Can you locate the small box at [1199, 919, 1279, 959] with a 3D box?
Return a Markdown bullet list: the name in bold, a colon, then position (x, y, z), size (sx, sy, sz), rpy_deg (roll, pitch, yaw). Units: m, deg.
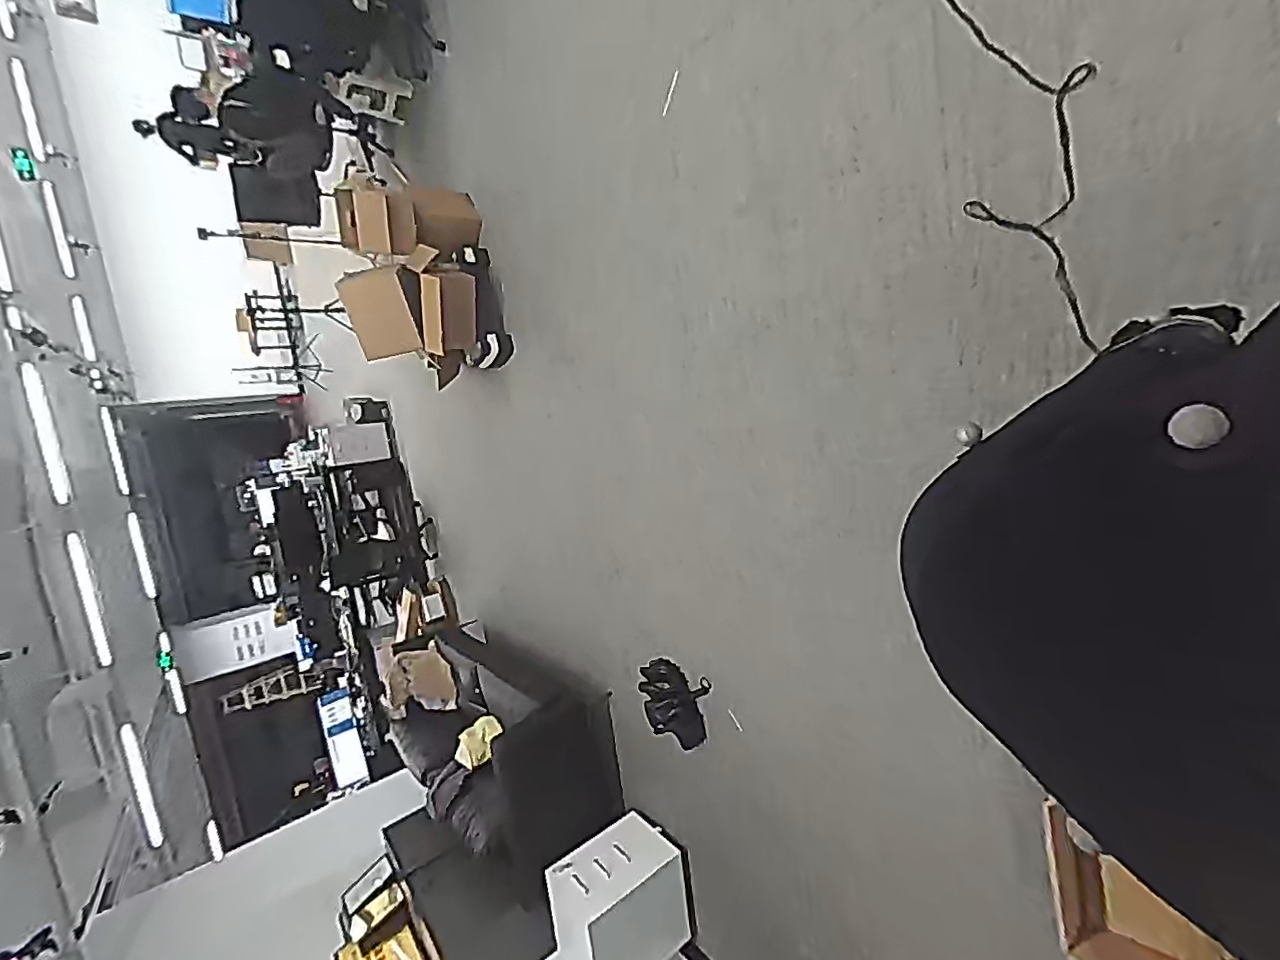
- **small box**: position (1.040, 0.883, 0.881), size (0.168, 0.176, 0.179), rpy_deg (-8, 94, 55)
